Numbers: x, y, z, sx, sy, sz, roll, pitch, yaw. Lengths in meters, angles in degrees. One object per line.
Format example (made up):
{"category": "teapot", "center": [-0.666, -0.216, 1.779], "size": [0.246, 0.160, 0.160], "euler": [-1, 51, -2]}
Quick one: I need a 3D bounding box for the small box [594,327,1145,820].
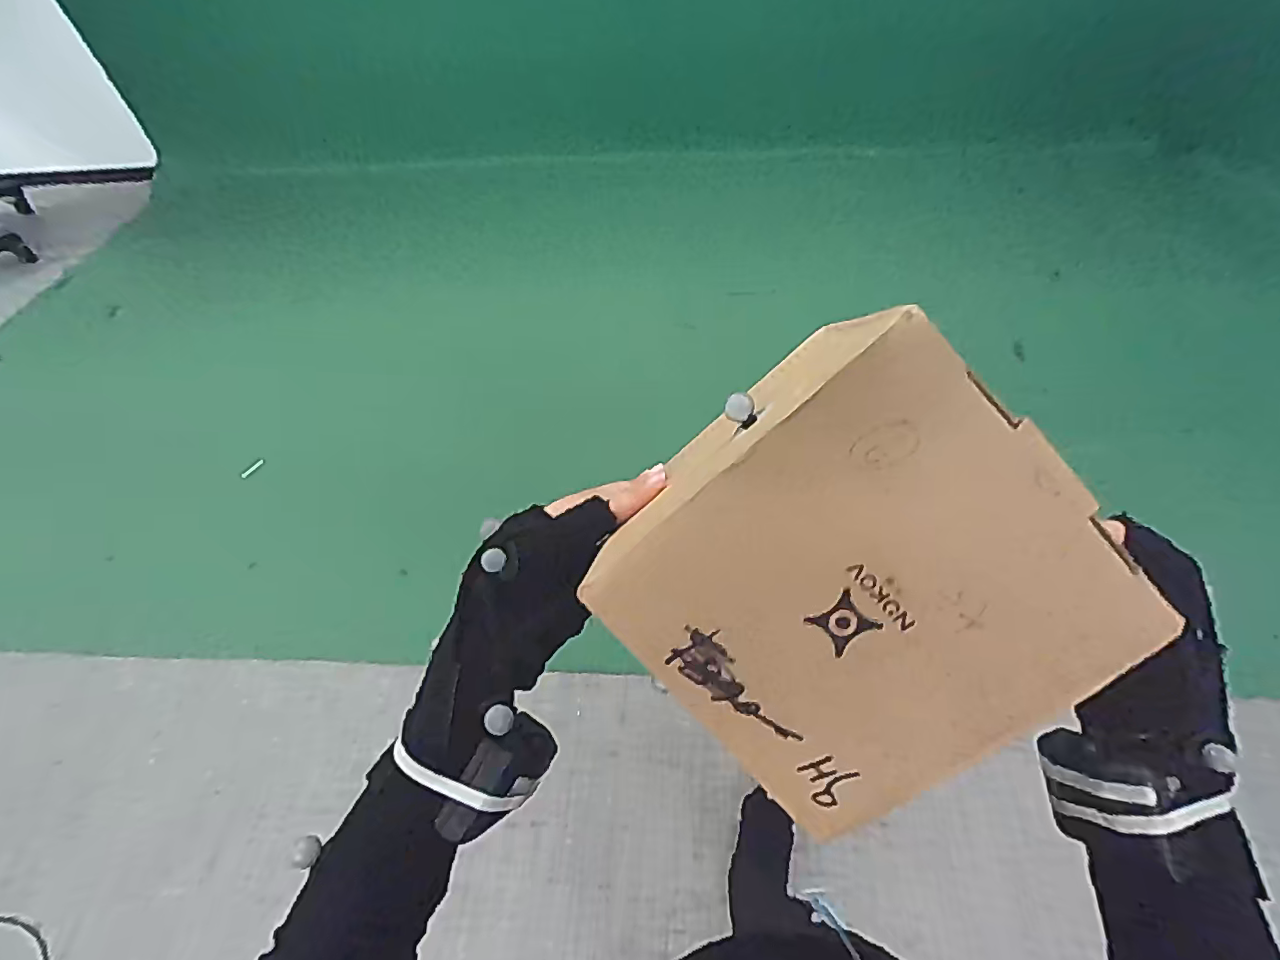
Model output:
{"category": "small box", "center": [0.101, 0.033, 0.310], "size": [0.179, 0.176, 0.168], "euler": [-42, 96, 15]}
